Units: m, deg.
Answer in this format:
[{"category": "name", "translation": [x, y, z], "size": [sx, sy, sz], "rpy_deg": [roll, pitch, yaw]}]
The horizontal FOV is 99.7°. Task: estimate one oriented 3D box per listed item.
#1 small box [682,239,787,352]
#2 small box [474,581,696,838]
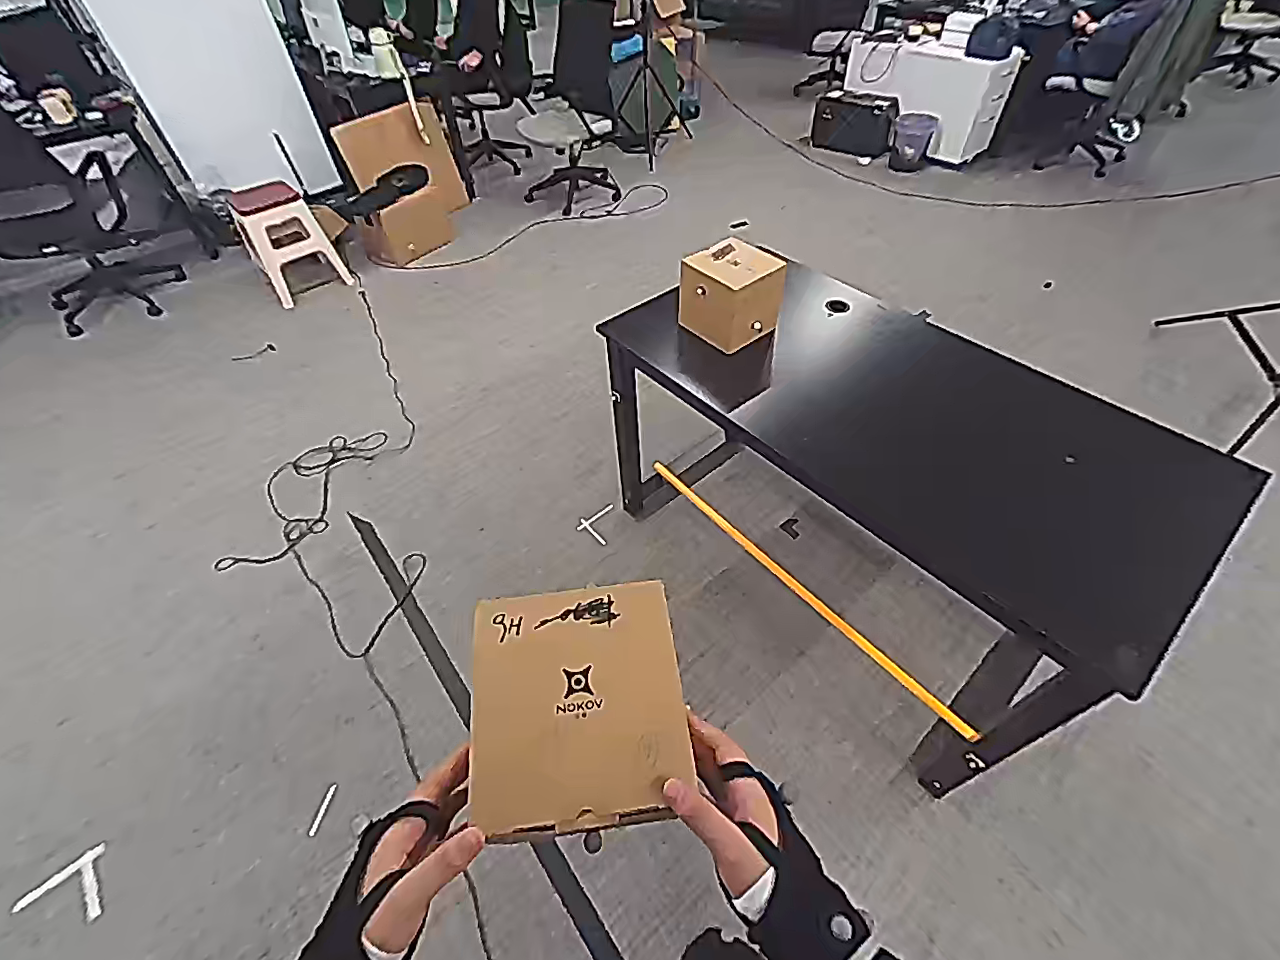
[{"category": "small box", "translation": [0.212, -0.430, 1.266], "size": [0.168, 0.176, 0.179], "rpy_deg": [-33, 57, -23]}, {"category": "small box", "translation": [-0.050, 0.213, 0.500], "size": [0.168, 0.176, 0.179], "rpy_deg": [-6, 58, -6]}]
